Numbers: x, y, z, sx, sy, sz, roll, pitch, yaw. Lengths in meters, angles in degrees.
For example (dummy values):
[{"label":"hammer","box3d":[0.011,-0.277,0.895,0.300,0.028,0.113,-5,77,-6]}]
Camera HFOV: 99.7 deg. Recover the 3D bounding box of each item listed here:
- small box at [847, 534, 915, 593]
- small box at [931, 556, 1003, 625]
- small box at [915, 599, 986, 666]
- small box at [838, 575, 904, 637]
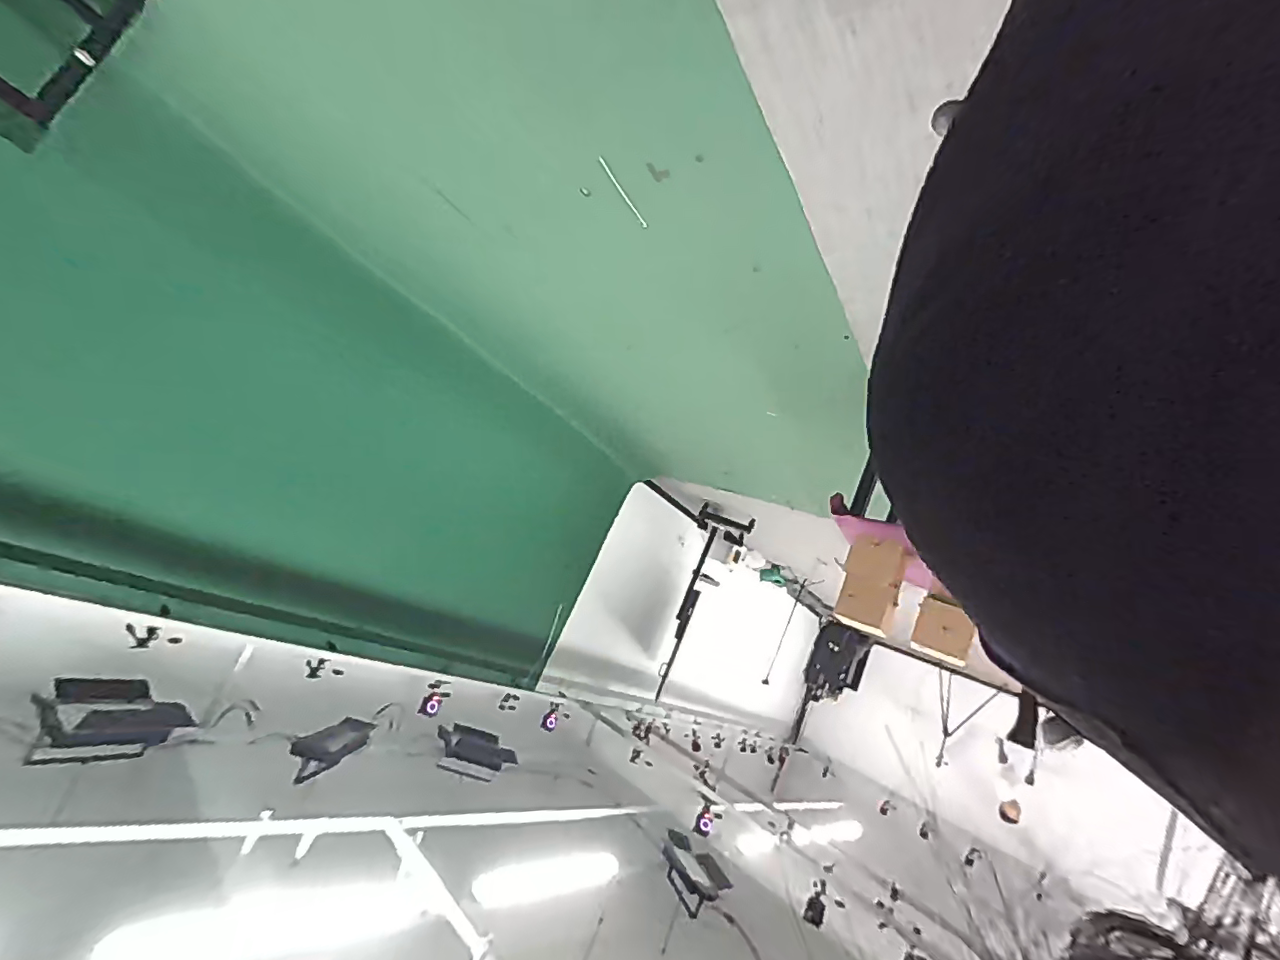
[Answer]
[{"label":"small box","box3d":[0.939,0.324,2.103,0.179,0.176,0.168,13,163,44]},{"label":"small box","box3d":[1.171,0.392,1.928,0.168,0.176,0.179,12,163,46]},{"label":"small box","box3d":[1.079,0.526,1.889,0.179,0.176,0.168,17,167,32]},{"label":"small box","box3d":[0.884,0.475,2.067,0.179,0.176,0.168,14,164,38]}]
